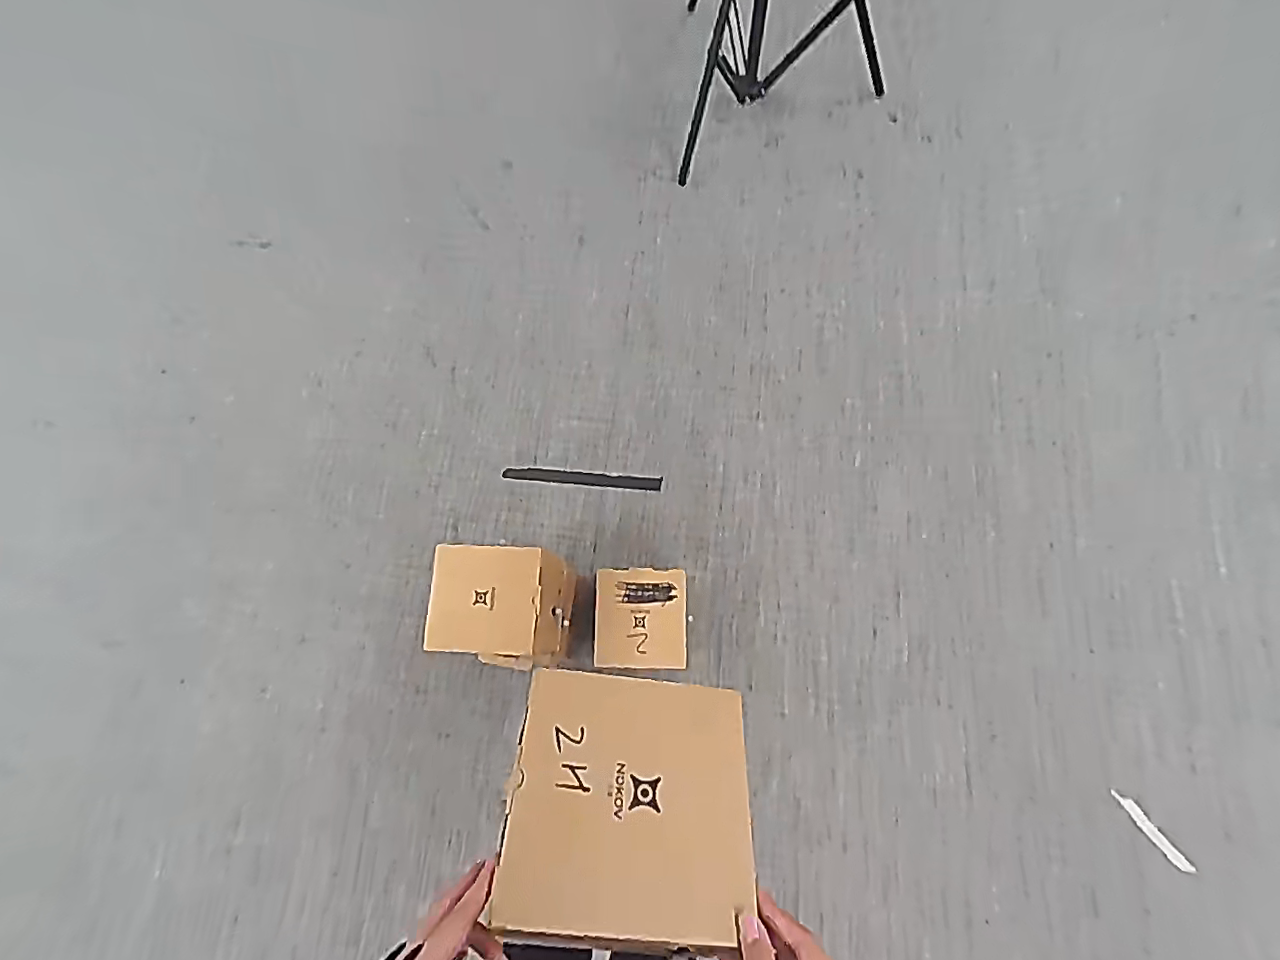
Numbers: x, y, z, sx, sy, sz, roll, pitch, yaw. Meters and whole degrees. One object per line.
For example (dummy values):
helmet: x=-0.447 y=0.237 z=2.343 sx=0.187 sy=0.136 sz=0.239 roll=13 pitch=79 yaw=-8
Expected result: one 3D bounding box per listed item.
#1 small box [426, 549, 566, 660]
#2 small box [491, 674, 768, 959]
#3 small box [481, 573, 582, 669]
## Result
small box: x=-0.232 y=0.214 z=0.915 sx=0.179 sy=0.176 sz=0.168 roll=1 pitch=74 yaw=4
small box: x=-0.013 y=0.280 z=0.443 sx=0.179 sy=0.176 sz=0.168 roll=8 pitch=46 yaw=-4
small box: x=-0.218 y=0.266 z=1.068 sx=0.168 sy=0.176 sz=0.179 roll=8 pitch=74 yaw=6
